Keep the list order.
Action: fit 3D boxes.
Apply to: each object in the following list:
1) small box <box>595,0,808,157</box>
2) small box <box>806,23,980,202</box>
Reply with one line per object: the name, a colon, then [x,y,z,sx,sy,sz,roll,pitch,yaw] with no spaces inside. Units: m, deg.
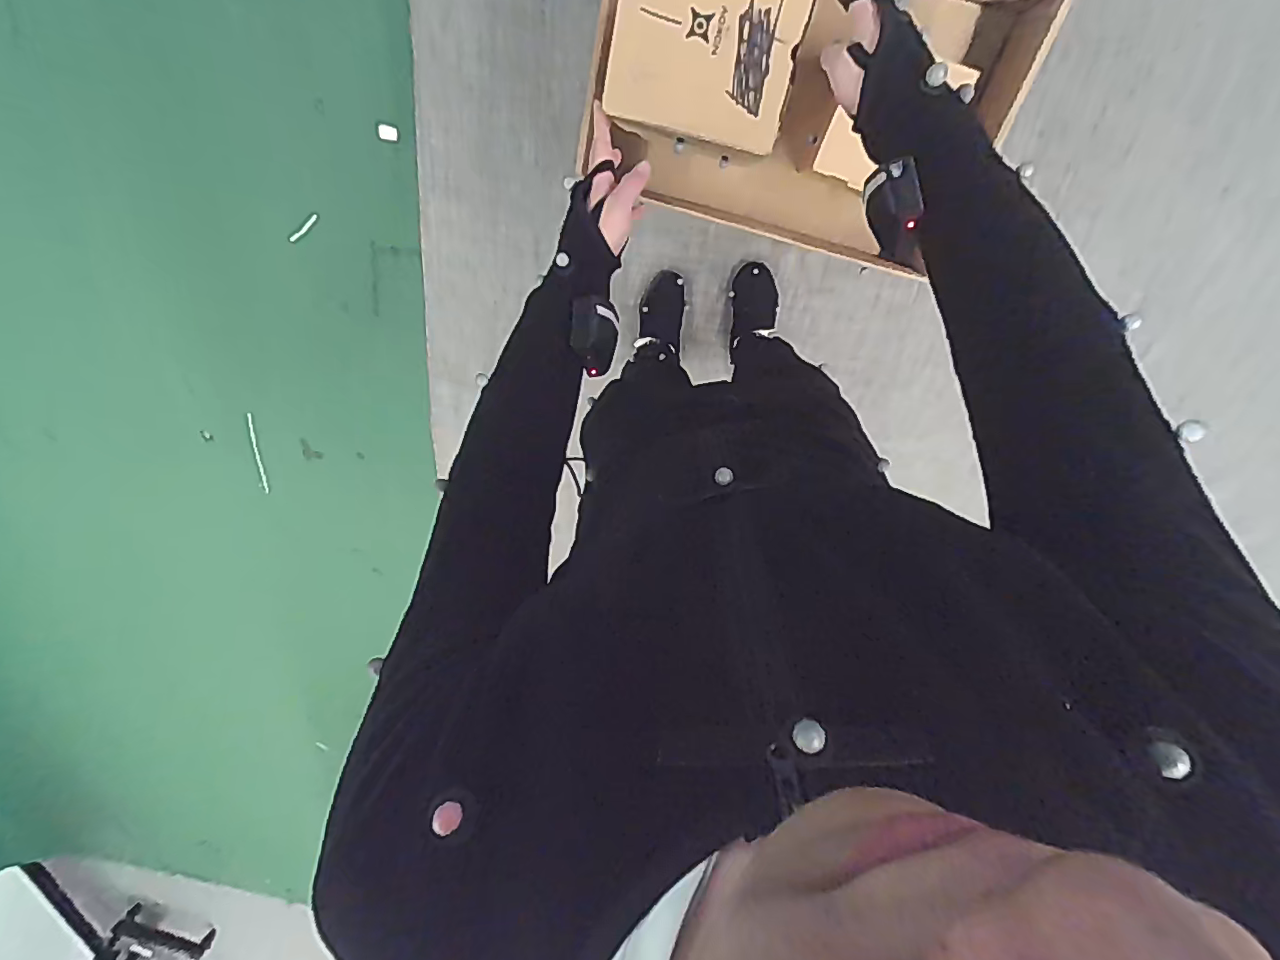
small box: [0.067,-0.455,0.571,0.179,0.176,0.168,15,120,1]
small box: [0.372,-0.555,0.839,0.168,0.176,0.179,20,120,-2]
